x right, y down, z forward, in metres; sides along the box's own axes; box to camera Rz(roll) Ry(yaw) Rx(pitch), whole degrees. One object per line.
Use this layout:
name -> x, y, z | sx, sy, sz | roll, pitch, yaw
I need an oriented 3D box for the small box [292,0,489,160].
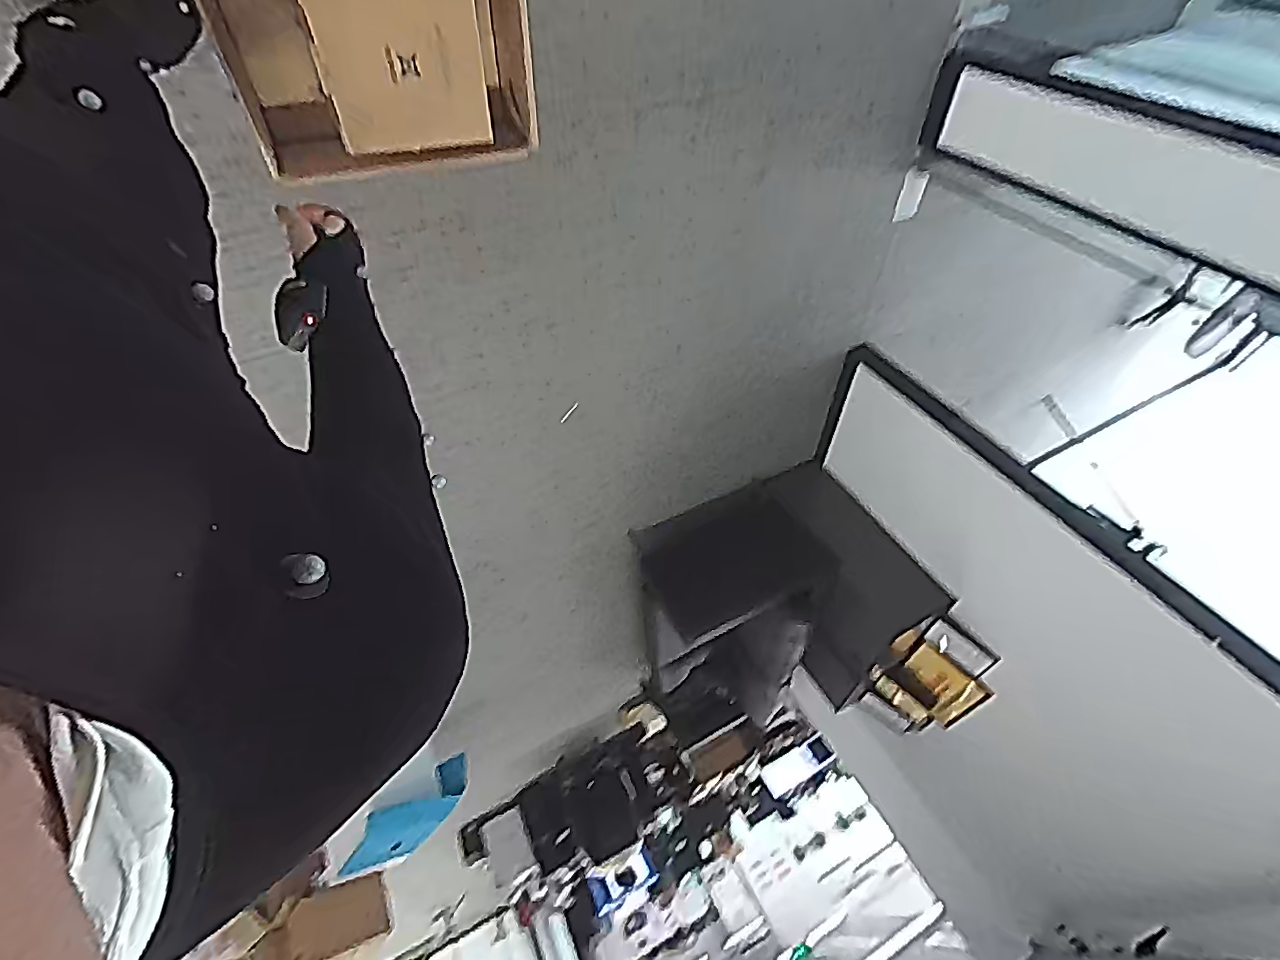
small box -> -0.300, -0.508, 0.648 | 0.179, 0.176, 0.168 | -19, 143, -20
